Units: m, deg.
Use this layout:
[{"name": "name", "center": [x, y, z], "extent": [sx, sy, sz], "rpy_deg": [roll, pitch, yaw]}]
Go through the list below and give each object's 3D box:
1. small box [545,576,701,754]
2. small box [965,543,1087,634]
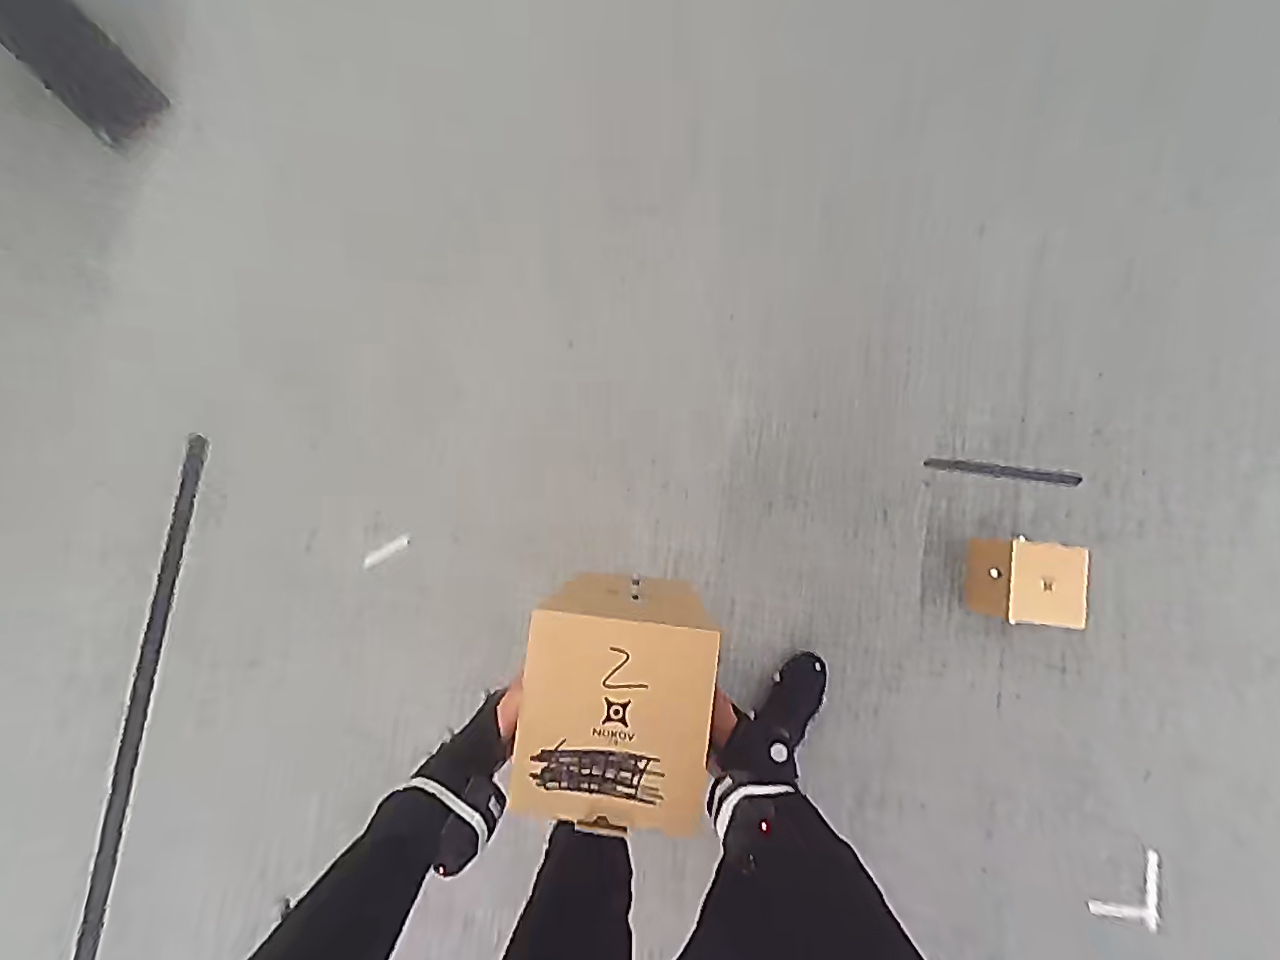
[{"name": "small box", "center": [-0.020, 0.223, 0.699], "extent": [0.168, 0.176, 0.179], "rpy_deg": [5, 87, 0]}, {"name": "small box", "center": [0.876, 0.241, 1.241], "extent": [0.168, 0.176, 0.179], "rpy_deg": [6, 84, 2]}]
